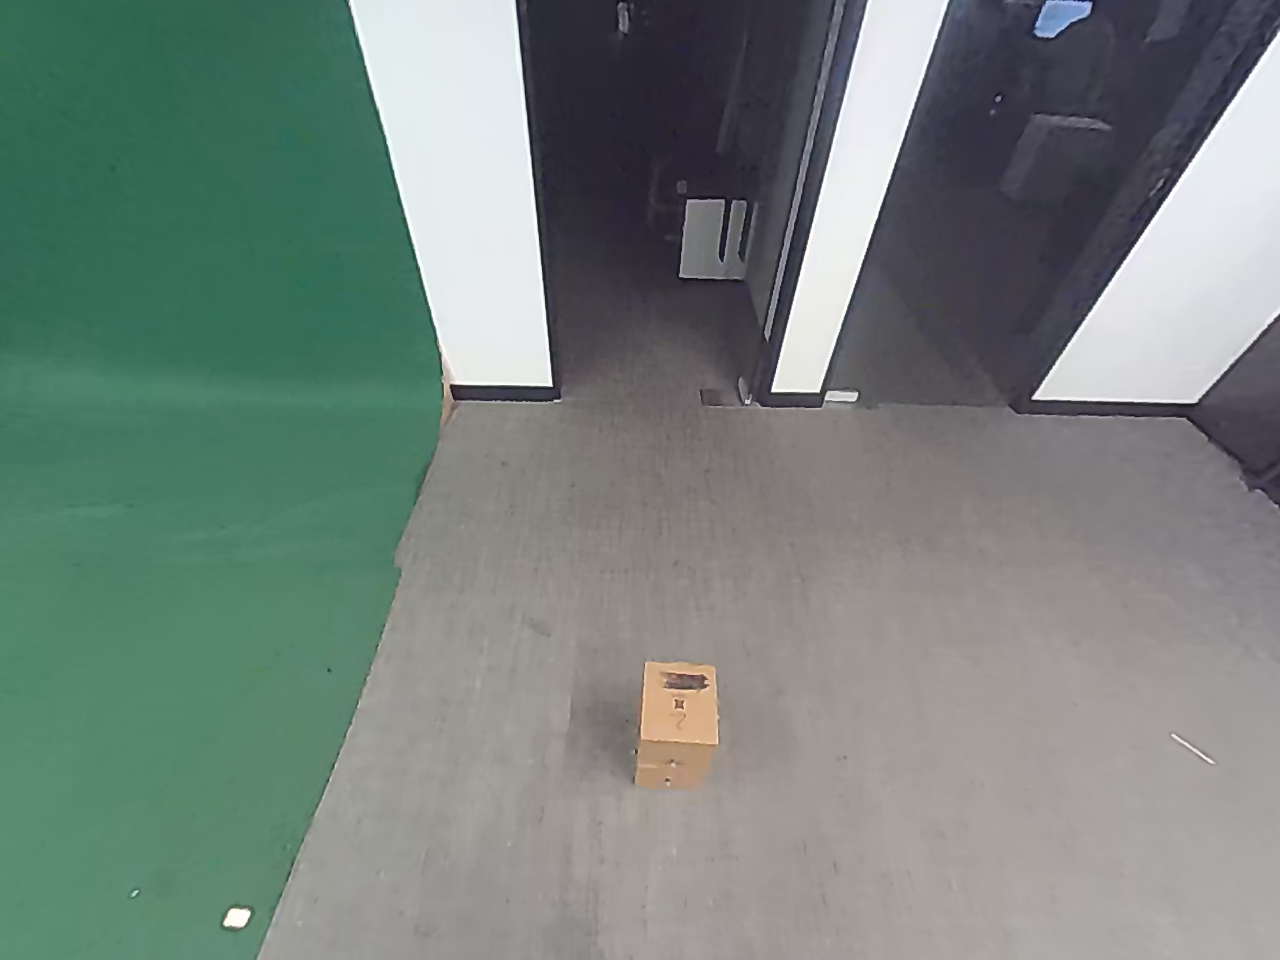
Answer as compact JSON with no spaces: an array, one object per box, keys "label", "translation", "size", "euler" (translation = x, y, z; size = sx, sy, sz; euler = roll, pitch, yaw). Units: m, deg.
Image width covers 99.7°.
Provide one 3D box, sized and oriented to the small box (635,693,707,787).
[{"label":"small box","translation":[0.075,0.657,1.358],"size":[0.168,0.176,0.179],"euler":[2,46,-1]}]
